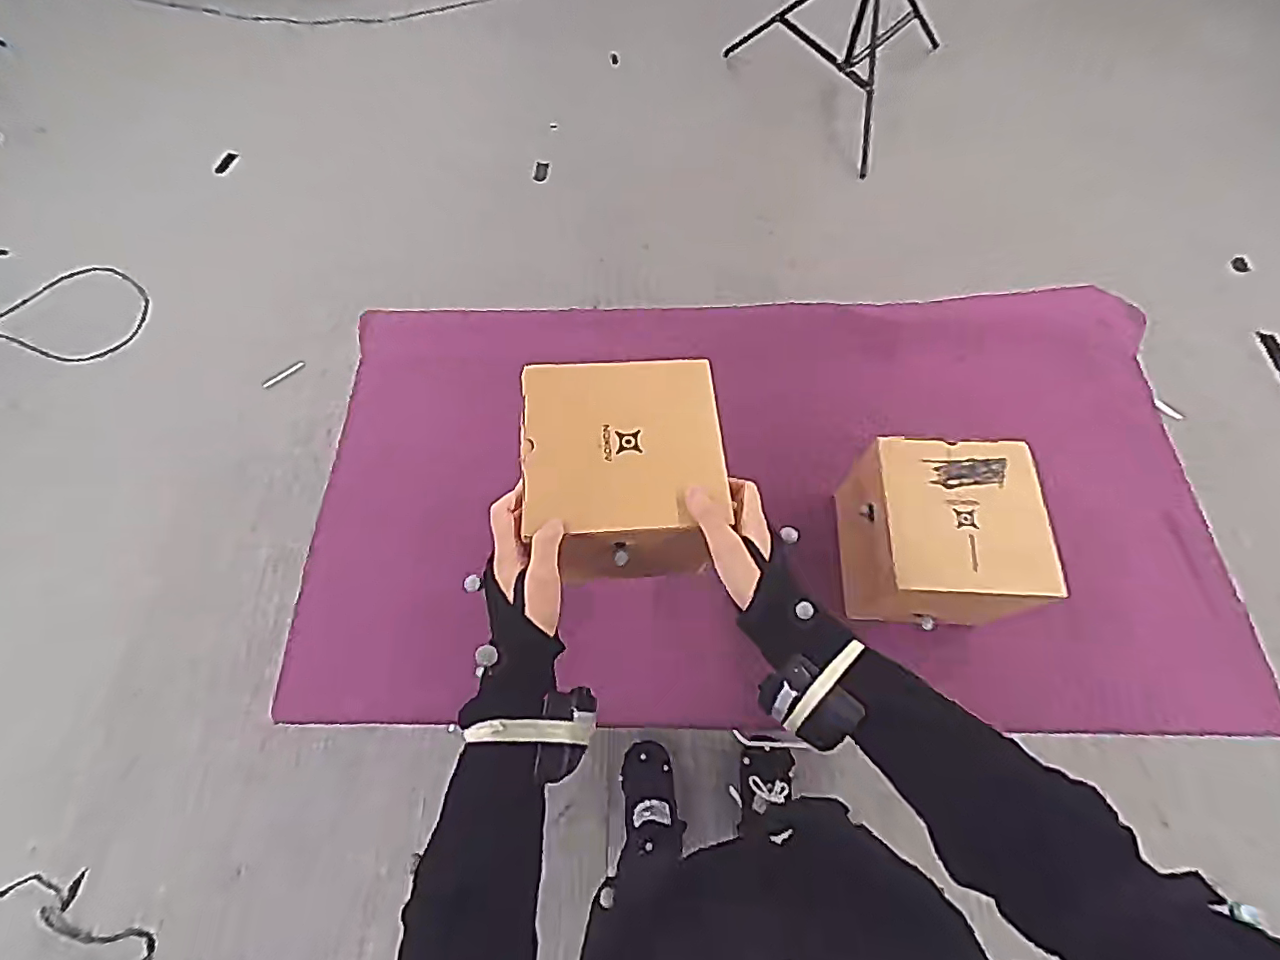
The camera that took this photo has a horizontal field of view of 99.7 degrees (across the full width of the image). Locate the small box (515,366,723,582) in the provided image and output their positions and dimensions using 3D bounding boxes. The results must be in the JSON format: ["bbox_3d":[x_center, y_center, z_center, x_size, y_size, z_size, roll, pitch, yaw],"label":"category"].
[{"bbox_3d":[-0.026,0.003,0.548,0.179,0.176,0.168,-4,67,-4],"label":"small box"}]

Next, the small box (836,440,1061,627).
[{"bbox_3d":[0.344,0.070,0.646,0.168,0.176,0.179,2,66,4],"label":"small box"}]
